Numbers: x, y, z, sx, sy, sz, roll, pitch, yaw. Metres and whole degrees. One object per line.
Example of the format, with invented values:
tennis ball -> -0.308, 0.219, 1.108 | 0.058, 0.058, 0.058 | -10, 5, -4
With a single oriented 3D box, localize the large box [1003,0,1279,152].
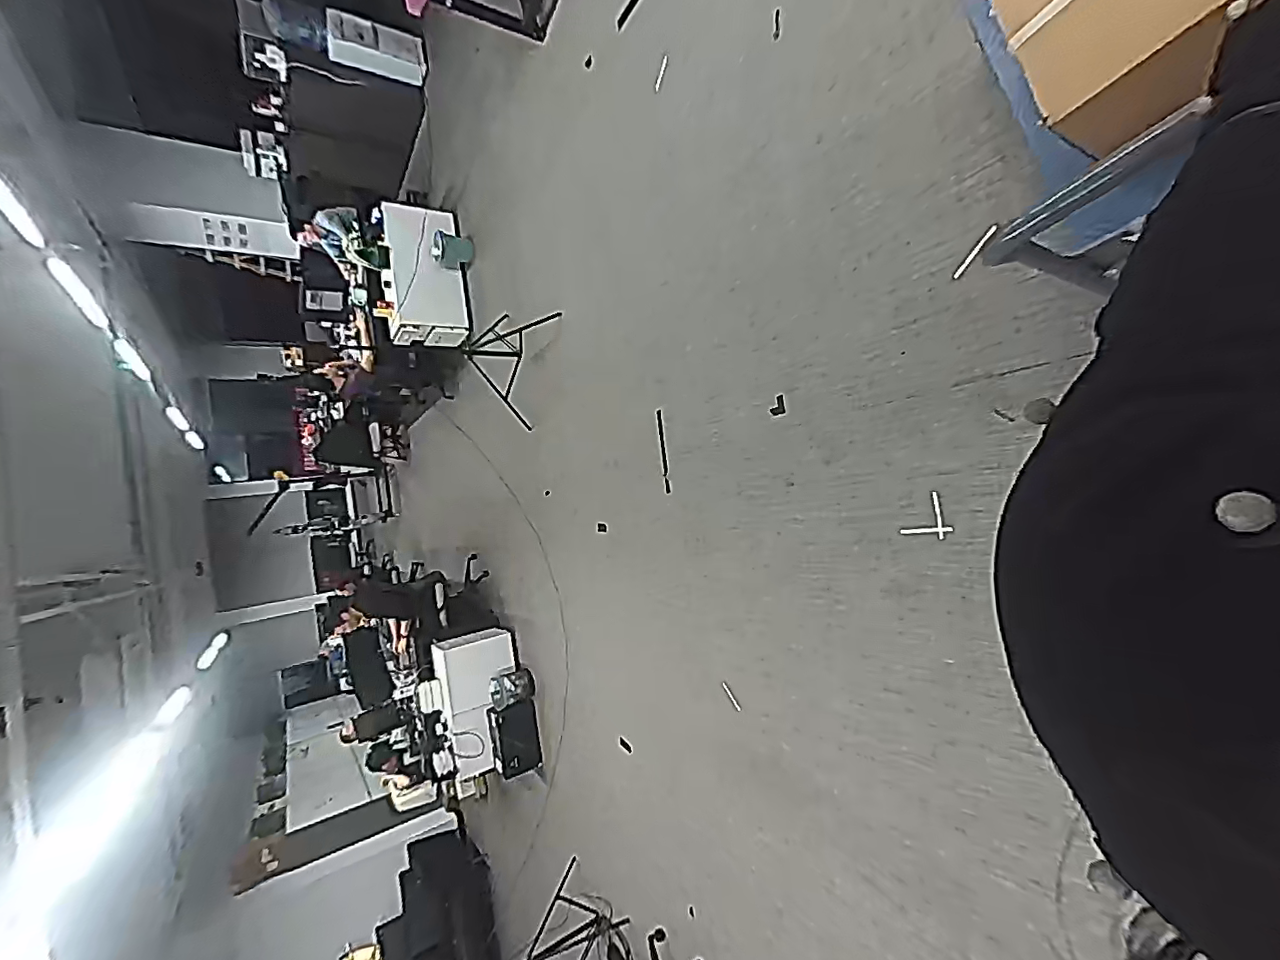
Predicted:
large box -> 0.844, -0.789, 0.796 | 0.408, 0.320, 0.320 | -29, 71, 56
